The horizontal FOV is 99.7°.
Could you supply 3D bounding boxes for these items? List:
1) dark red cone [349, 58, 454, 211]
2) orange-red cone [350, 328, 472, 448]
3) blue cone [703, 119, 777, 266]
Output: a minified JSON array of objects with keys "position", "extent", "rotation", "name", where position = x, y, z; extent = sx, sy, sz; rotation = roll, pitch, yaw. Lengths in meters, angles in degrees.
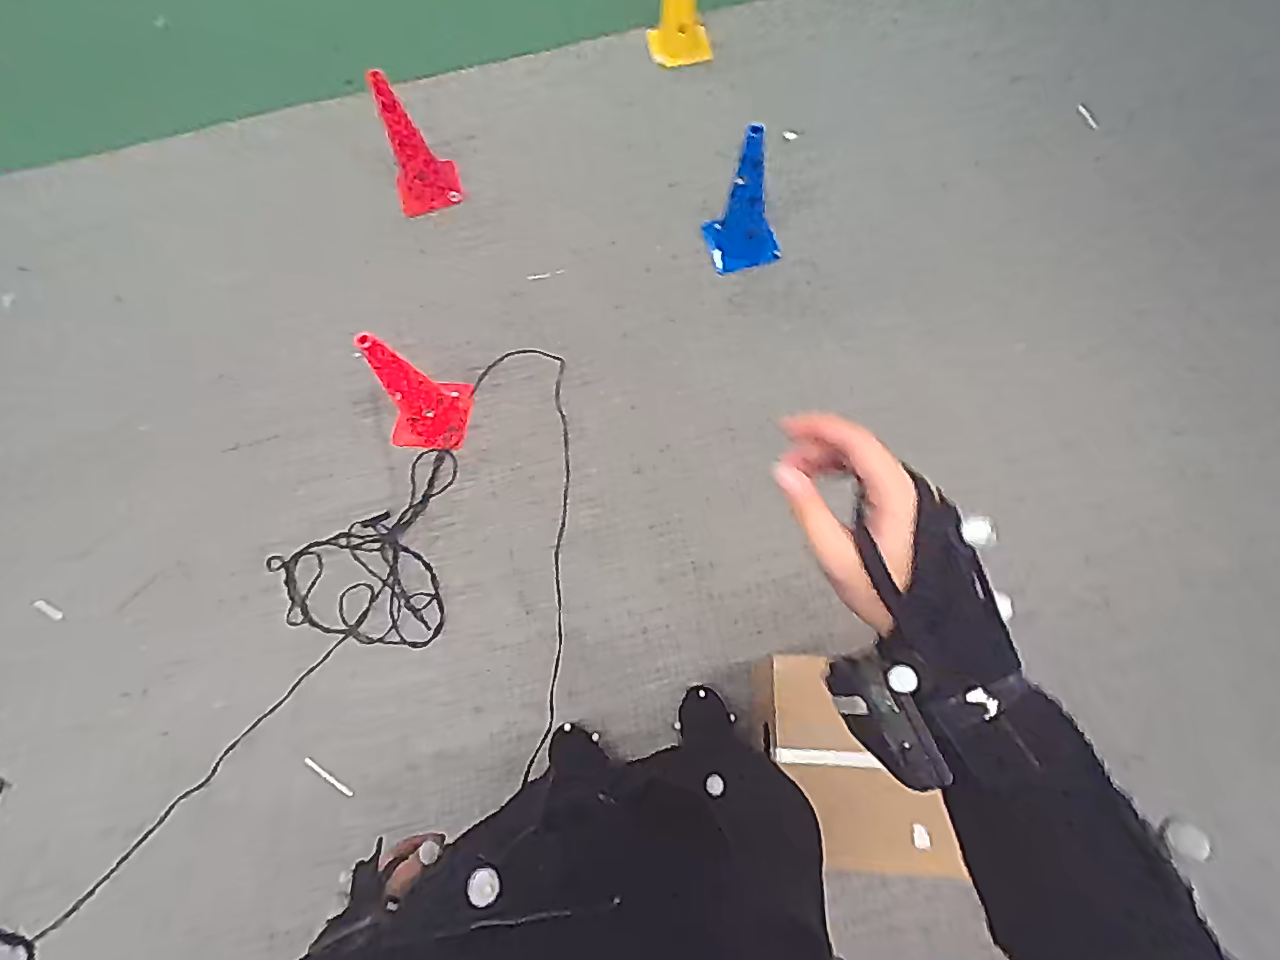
[{"position":[-0.721,-1.020,1.592],"extent":[0.202,0.394,0.201],"rotation":[-21,66,-3],"name":"dark red cone"},{"position":[-0.586,-0.243,1.313],"extent":[0.199,0.360,0.198],"rotation":[4,69,8],"name":"orange-red cone"},{"position":[0.280,-0.779,1.456],"extent":[0.192,0.380,0.193],"rotation":[-14,69,-1],"name":"blue cone"}]
